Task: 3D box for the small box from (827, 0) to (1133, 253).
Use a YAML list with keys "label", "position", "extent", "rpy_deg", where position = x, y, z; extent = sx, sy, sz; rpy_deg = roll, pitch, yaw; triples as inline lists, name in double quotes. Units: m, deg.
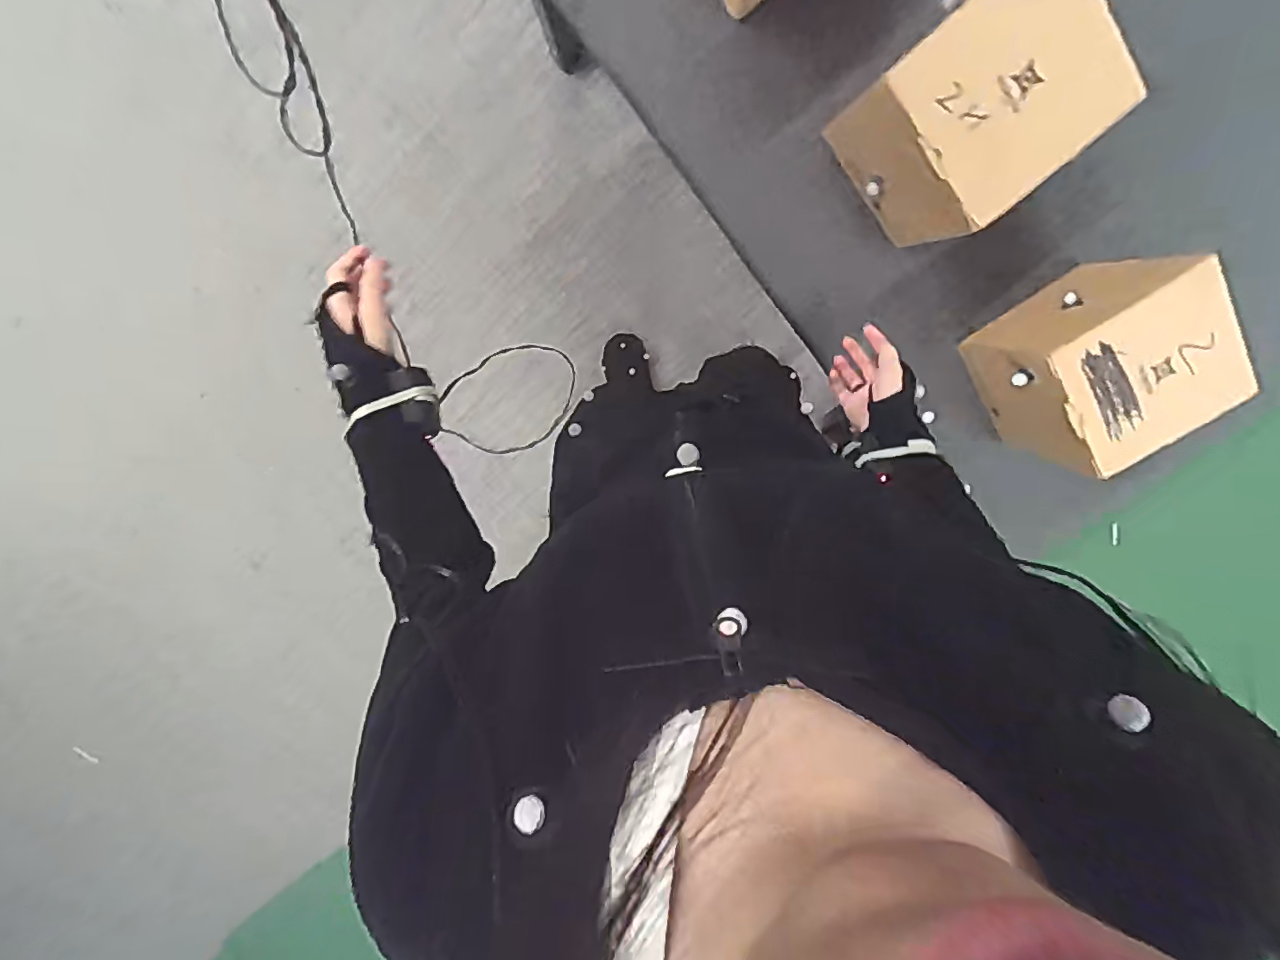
- label: "small box"
  position: [0.332, -0.365, 0.564]
  extent: [0.179, 0.176, 0.168]
  rpy_deg: [-39, 104, 10]
